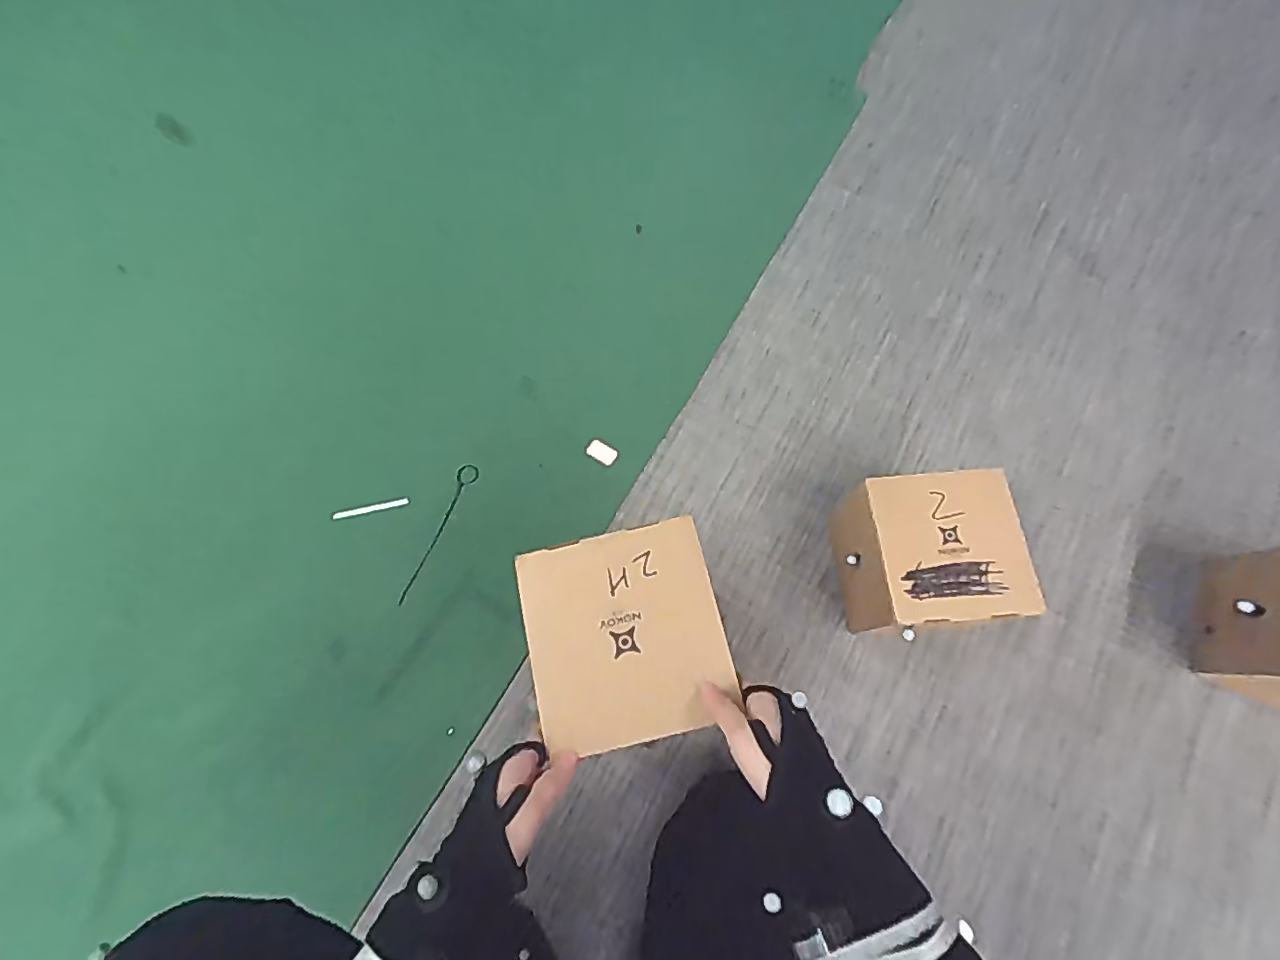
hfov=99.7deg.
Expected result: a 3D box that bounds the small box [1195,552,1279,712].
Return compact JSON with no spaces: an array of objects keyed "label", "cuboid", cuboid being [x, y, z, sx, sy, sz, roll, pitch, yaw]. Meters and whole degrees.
[{"label":"small box","cuboid":[0.828,0.194,0.643,0.179,0.176,0.168,20,73,12]}]

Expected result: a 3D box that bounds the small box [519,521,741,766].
[{"label":"small box","cuboid":[-0.007,0.159,0.538,0.168,0.176,0.179,-13,70,-1]}]
